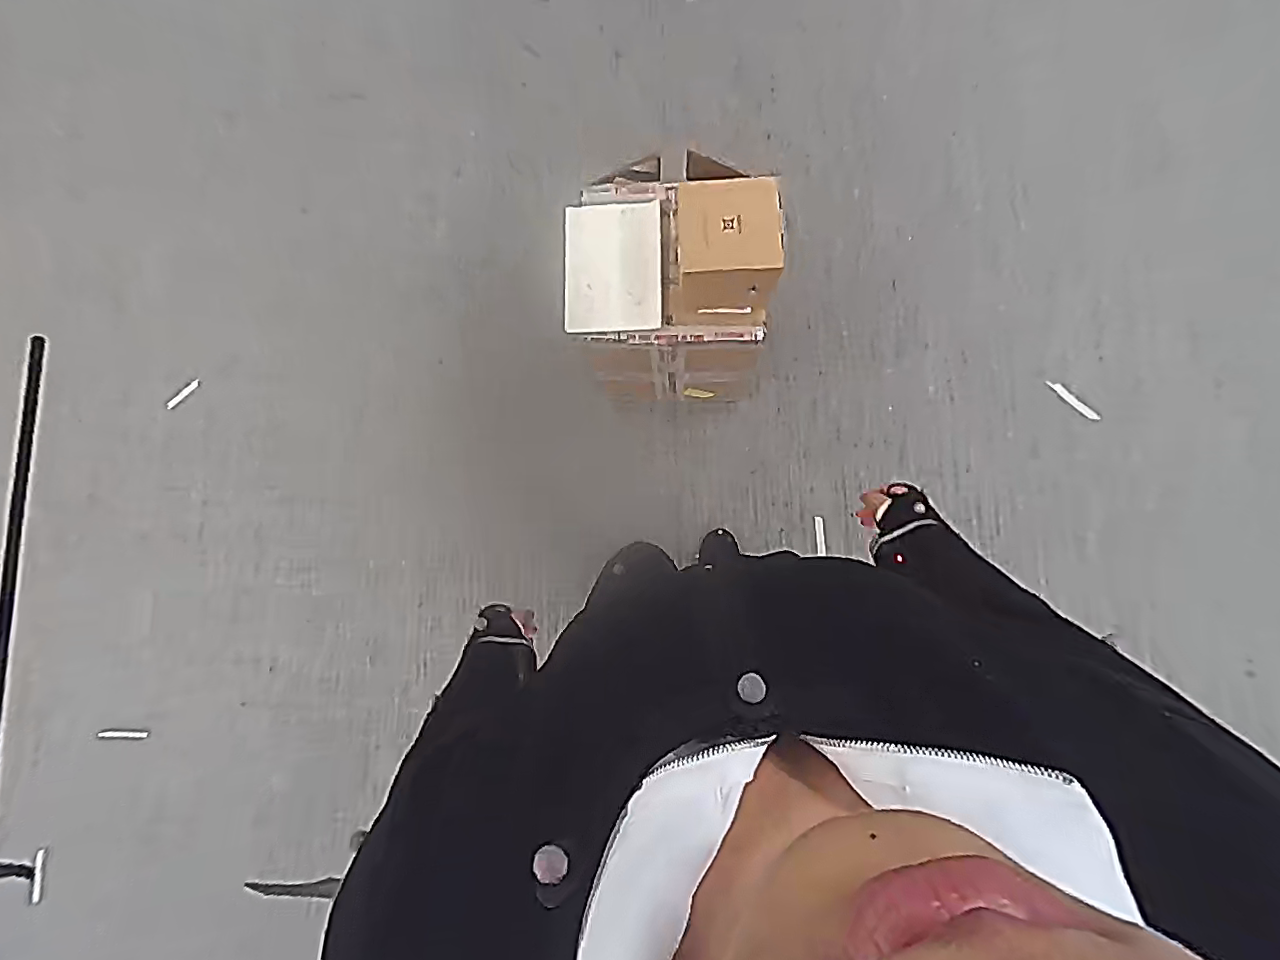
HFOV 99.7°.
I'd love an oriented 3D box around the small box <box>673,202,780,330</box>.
[{"bbox_3d":[0.154,-0.393,1.016,0.179,0.176,0.168,-3,84,3],"label":"small box"}]
